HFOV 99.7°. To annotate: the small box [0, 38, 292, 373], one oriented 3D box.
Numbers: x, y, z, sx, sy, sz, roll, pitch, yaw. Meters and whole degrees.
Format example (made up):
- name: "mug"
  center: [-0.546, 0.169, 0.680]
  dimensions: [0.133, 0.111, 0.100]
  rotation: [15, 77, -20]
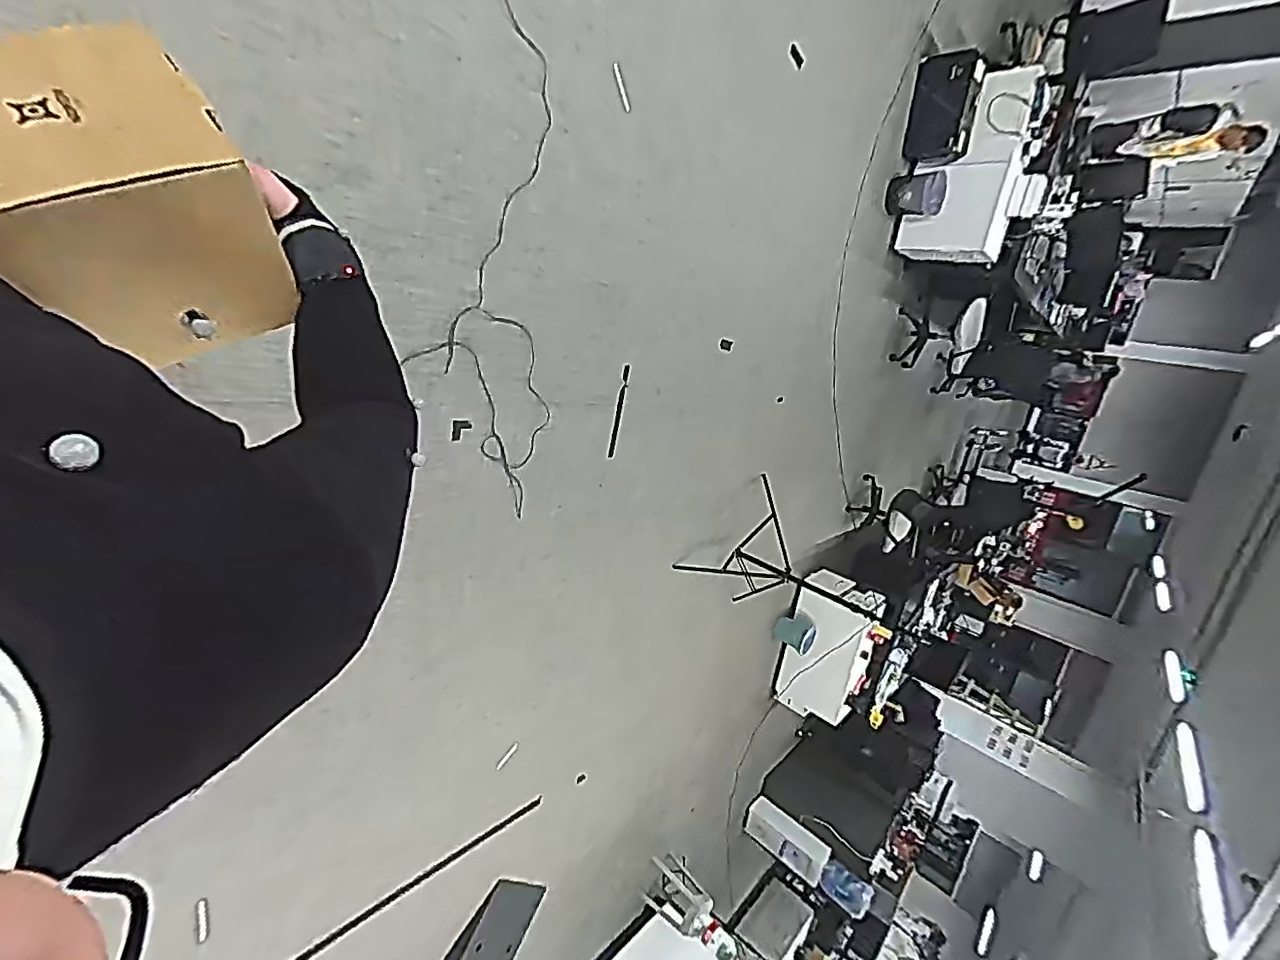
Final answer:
- name: "small box"
  center: [-0.429, -0.224, 0.457]
  dimensions: [0.179, 0.168, 0.176]
  rotation: [-33, 167, -28]
